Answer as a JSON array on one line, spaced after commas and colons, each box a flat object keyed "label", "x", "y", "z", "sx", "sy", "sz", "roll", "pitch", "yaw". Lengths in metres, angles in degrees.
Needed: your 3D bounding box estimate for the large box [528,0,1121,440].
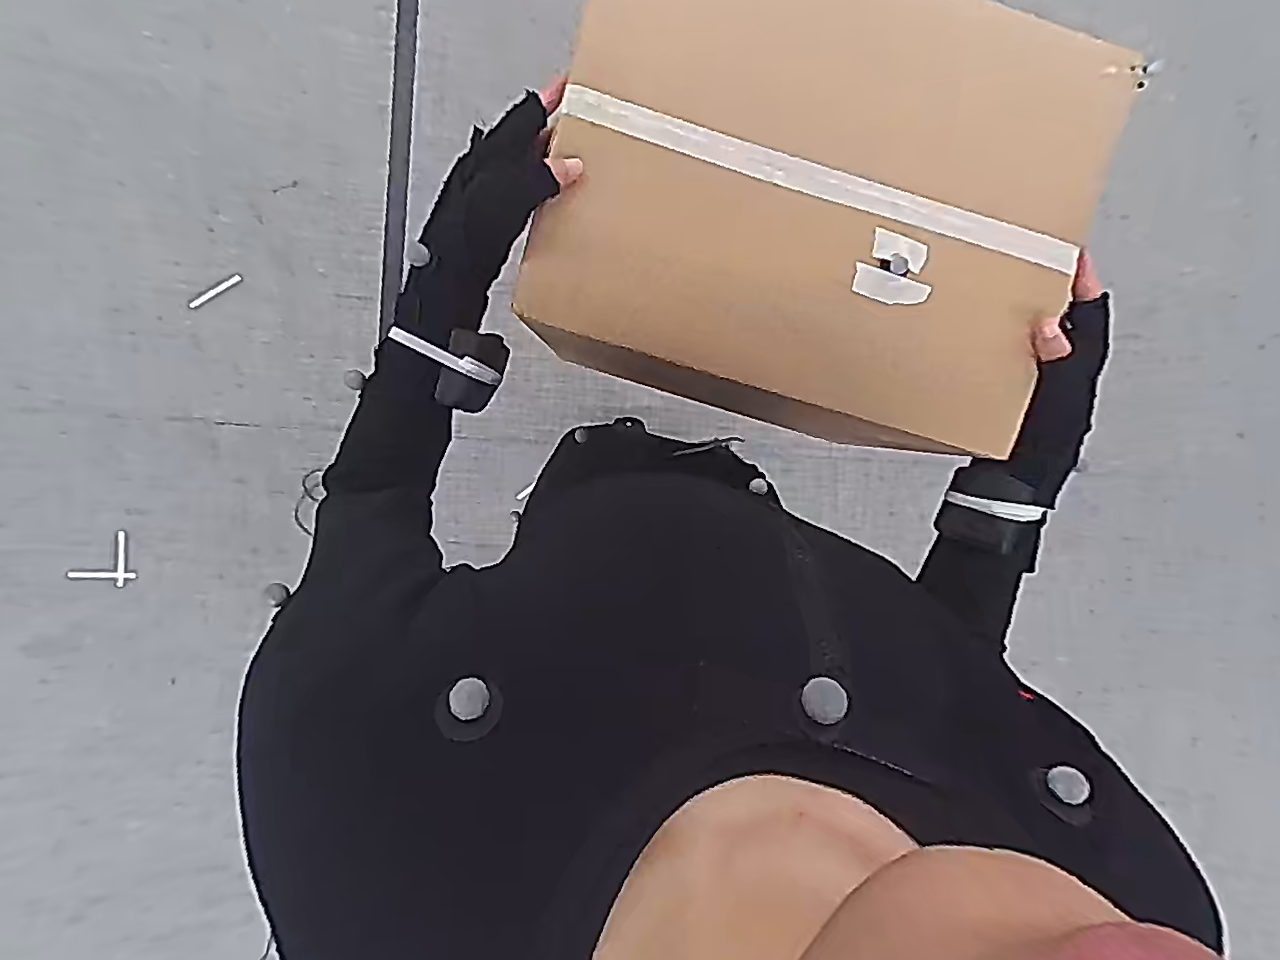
[{"label": "large box", "x": 0.133, "y": -0.246, "z": 0.564, "sx": 0.408, "sy": 0.320, "sz": 0.320, "roll": 17, "pitch": 97, "yaw": -5}]
